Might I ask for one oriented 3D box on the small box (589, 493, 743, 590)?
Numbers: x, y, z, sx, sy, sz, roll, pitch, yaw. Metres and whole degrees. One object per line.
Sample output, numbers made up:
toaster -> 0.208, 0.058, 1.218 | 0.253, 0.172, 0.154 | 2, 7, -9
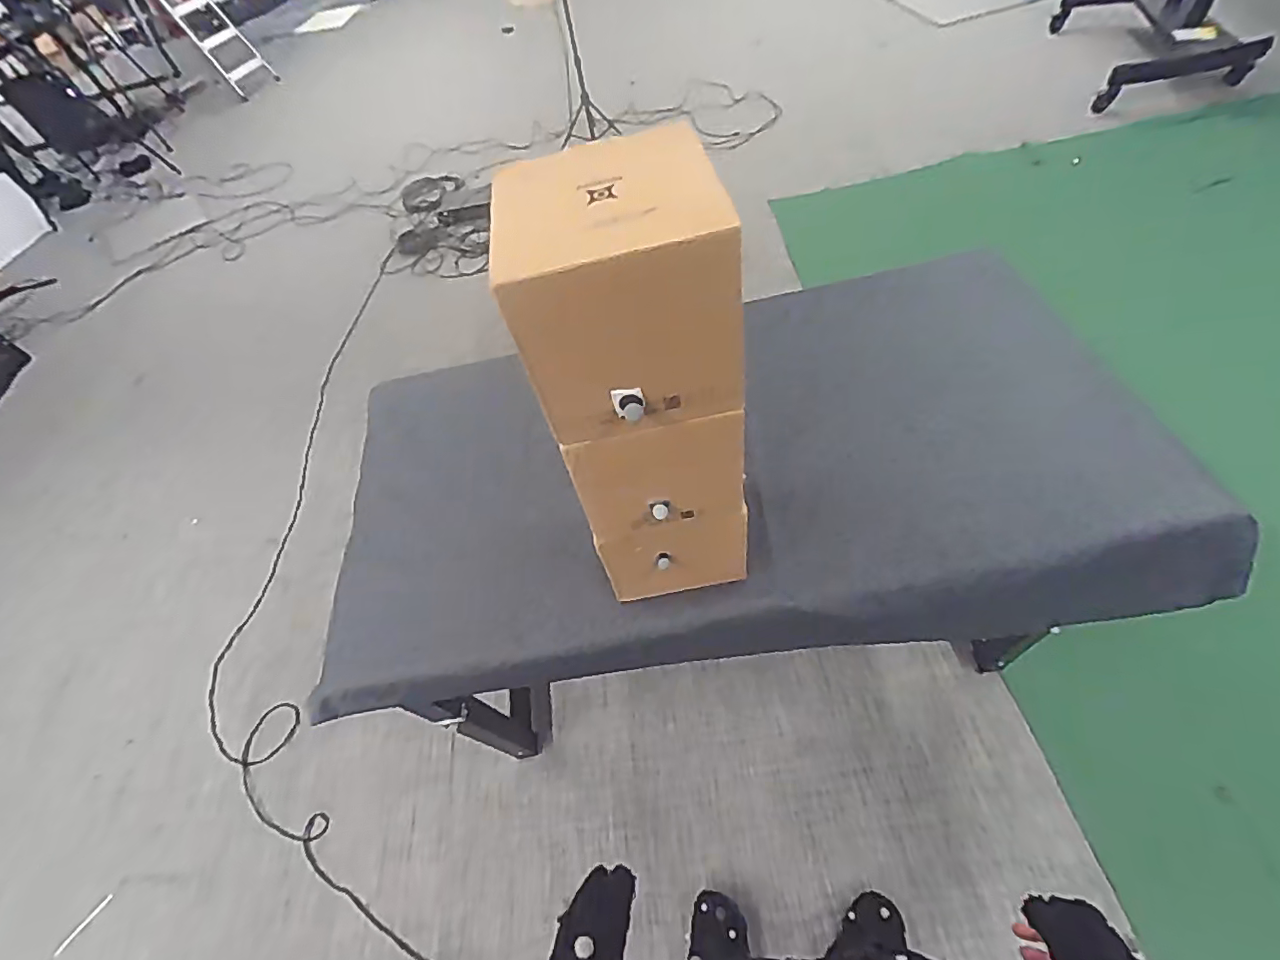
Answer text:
small box -> 0.034, 0.030, 0.715 | 0.179, 0.176, 0.168 | -11, 54, 3

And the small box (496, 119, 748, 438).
small box -> -0.011, -0.163, 0.456 | 0.168, 0.176, 0.179 | -12, 54, 3

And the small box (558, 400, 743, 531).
small box -> 0.011, -0.069, 0.585 | 0.168, 0.176, 0.179 | -10, 54, 3
